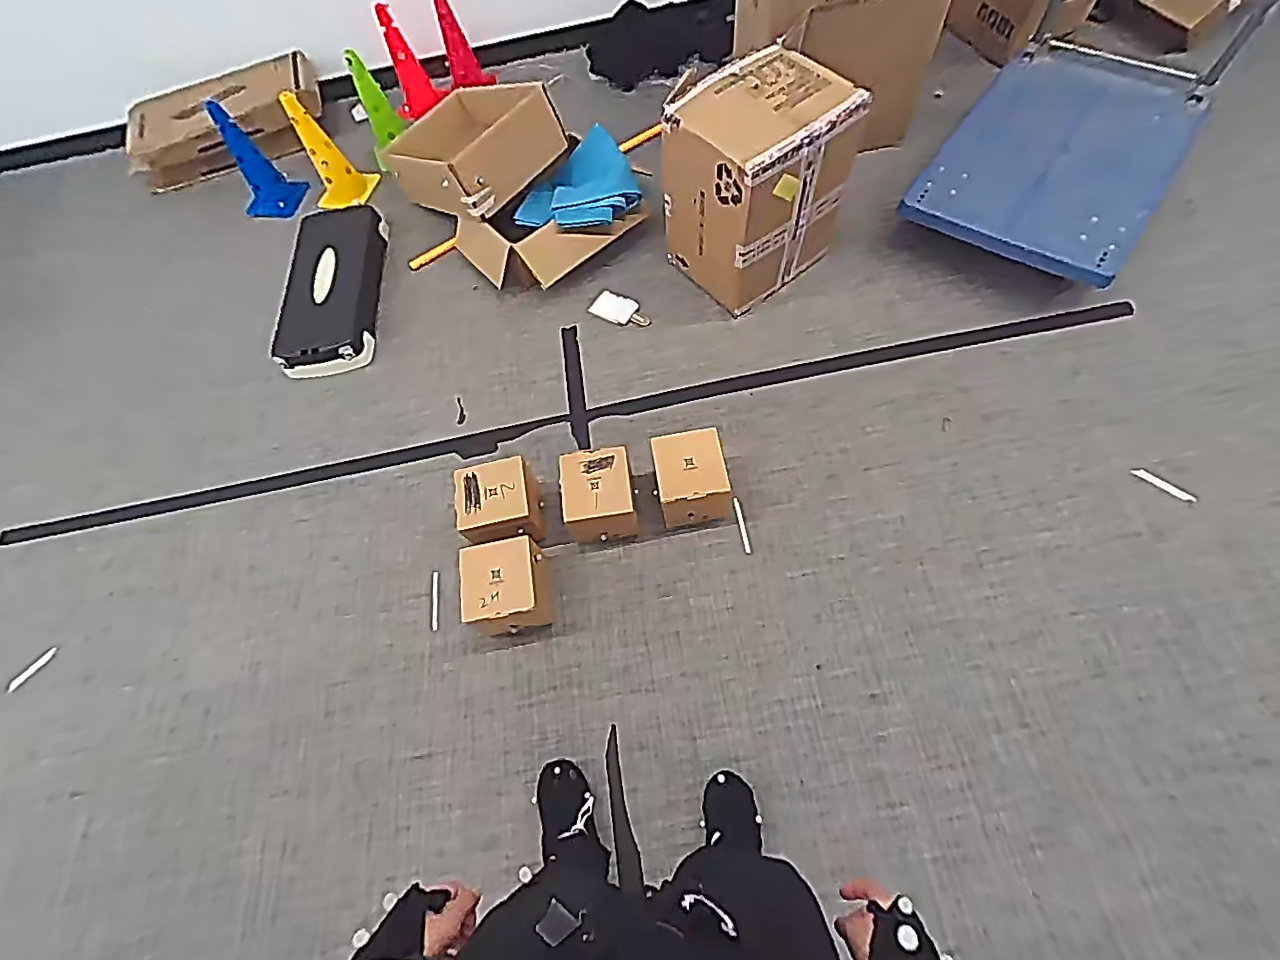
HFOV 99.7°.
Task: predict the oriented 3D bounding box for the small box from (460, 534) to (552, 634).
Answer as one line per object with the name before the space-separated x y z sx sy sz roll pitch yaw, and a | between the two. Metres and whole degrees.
small box | -0.312 0.249 1.273 0.168 0.176 0.179 -12 65 1

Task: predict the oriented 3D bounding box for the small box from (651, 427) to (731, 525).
small box | 0.123 -0.007 1.351 0.168 0.176 0.179 -10 65 1

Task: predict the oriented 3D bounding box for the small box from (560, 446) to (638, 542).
small box | -0.099 0.039 1.350 0.168 0.176 0.179 -9 65 2
